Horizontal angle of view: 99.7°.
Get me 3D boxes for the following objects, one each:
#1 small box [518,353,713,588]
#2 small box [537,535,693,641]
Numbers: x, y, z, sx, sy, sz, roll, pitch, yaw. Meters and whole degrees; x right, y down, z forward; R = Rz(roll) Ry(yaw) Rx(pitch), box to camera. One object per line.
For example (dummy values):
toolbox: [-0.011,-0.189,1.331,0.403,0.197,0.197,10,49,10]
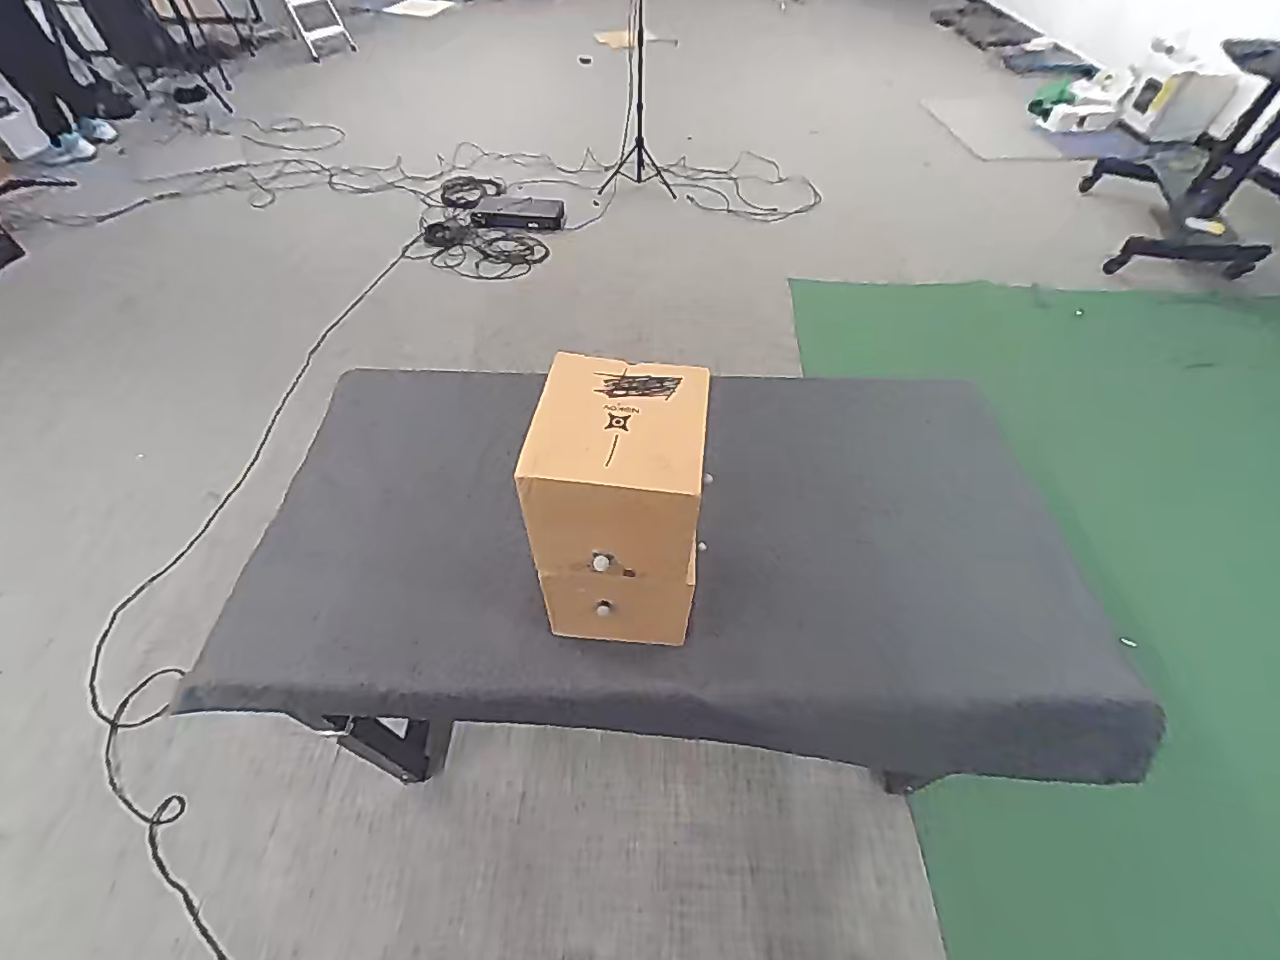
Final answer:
small box: [-0.019,-0.009,0.584,0.168,0.176,0.179,7,51,4]
small box: [-0.022,0.098,0.709,0.179,0.176,0.168,4,51,3]
